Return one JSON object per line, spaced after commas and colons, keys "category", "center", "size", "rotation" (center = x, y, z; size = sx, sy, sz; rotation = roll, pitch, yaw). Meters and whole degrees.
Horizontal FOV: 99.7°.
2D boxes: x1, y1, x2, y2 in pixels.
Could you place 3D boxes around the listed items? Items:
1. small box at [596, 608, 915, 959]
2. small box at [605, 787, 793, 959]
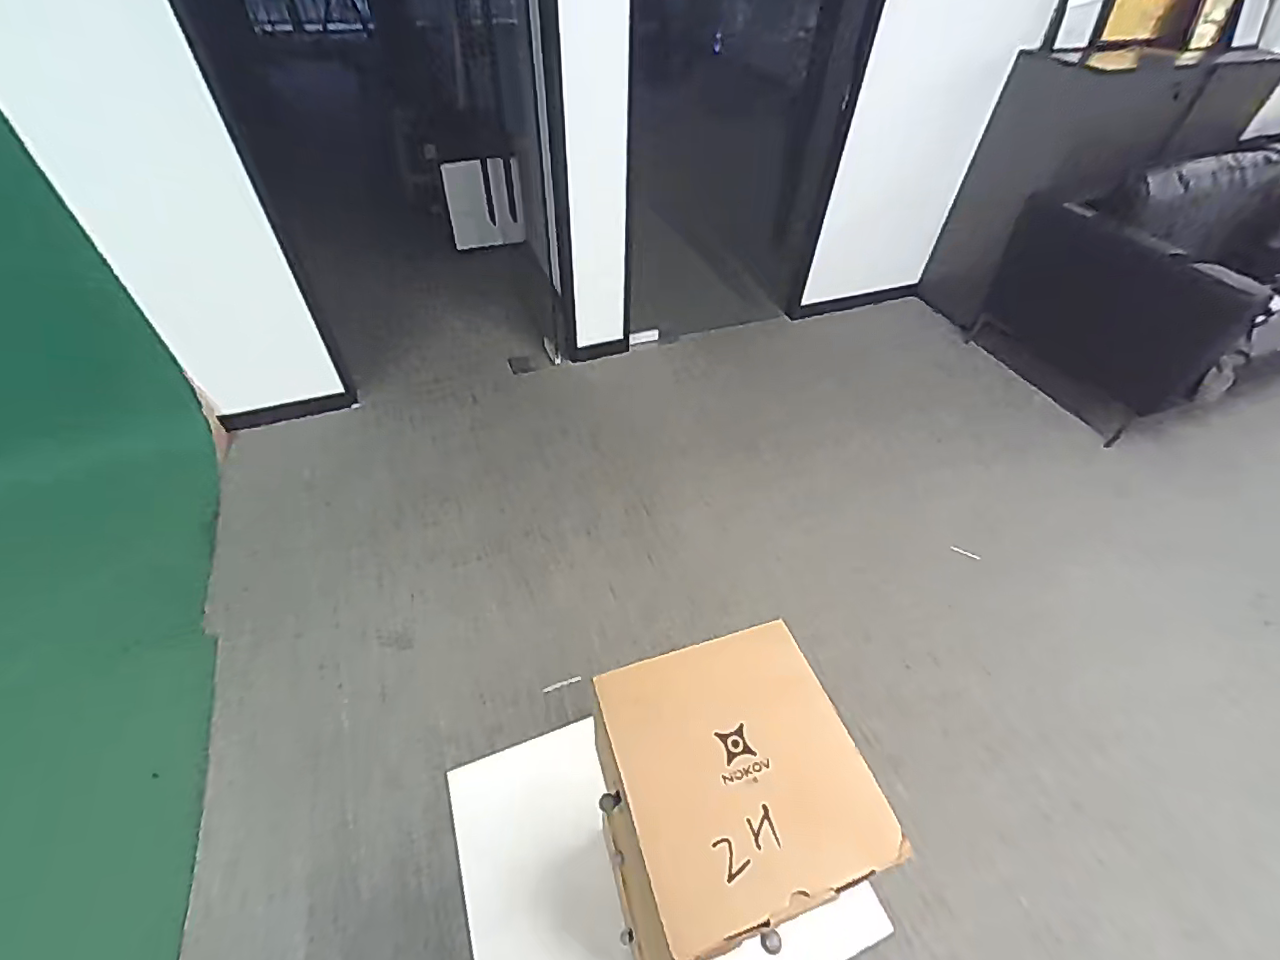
{"category": "small box", "center": [0.064, 0.234, 0.425], "size": [0.168, 0.176, 0.179], "rotation": [-12, 48, -14]}
{"category": "small box", "center": [0.055, 0.466, 0.657], "size": [0.168, 0.176, 0.179], "rotation": [-12, 47, -14]}
